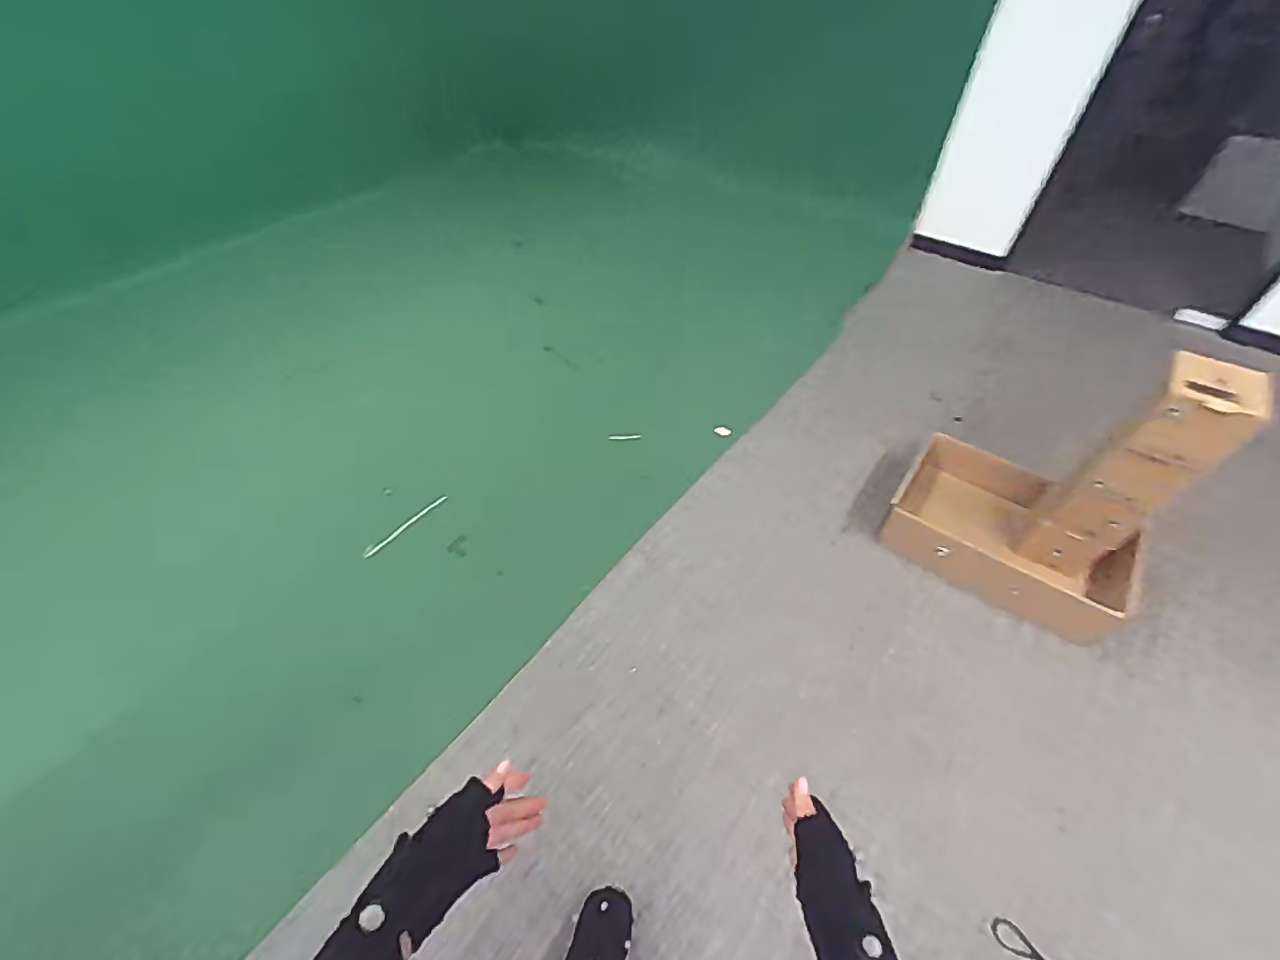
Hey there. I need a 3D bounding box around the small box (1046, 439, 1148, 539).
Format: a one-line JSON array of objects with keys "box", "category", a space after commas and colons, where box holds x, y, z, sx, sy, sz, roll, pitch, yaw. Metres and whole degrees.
[{"box": [1.243, 0.027, 1.465, 0.168, 0.176, 0.179, 29, 57, 24], "category": "small box"}]

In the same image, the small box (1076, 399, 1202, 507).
[{"box": [1.234, -0.064, 1.349, 0.168, 0.176, 0.179, 30, 57, 23], "category": "small box"}]

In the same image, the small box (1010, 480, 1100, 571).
[{"box": [1.235, 0.139, 1.608, 0.168, 0.176, 0.179, 24, 54, 22], "category": "small box"}]
